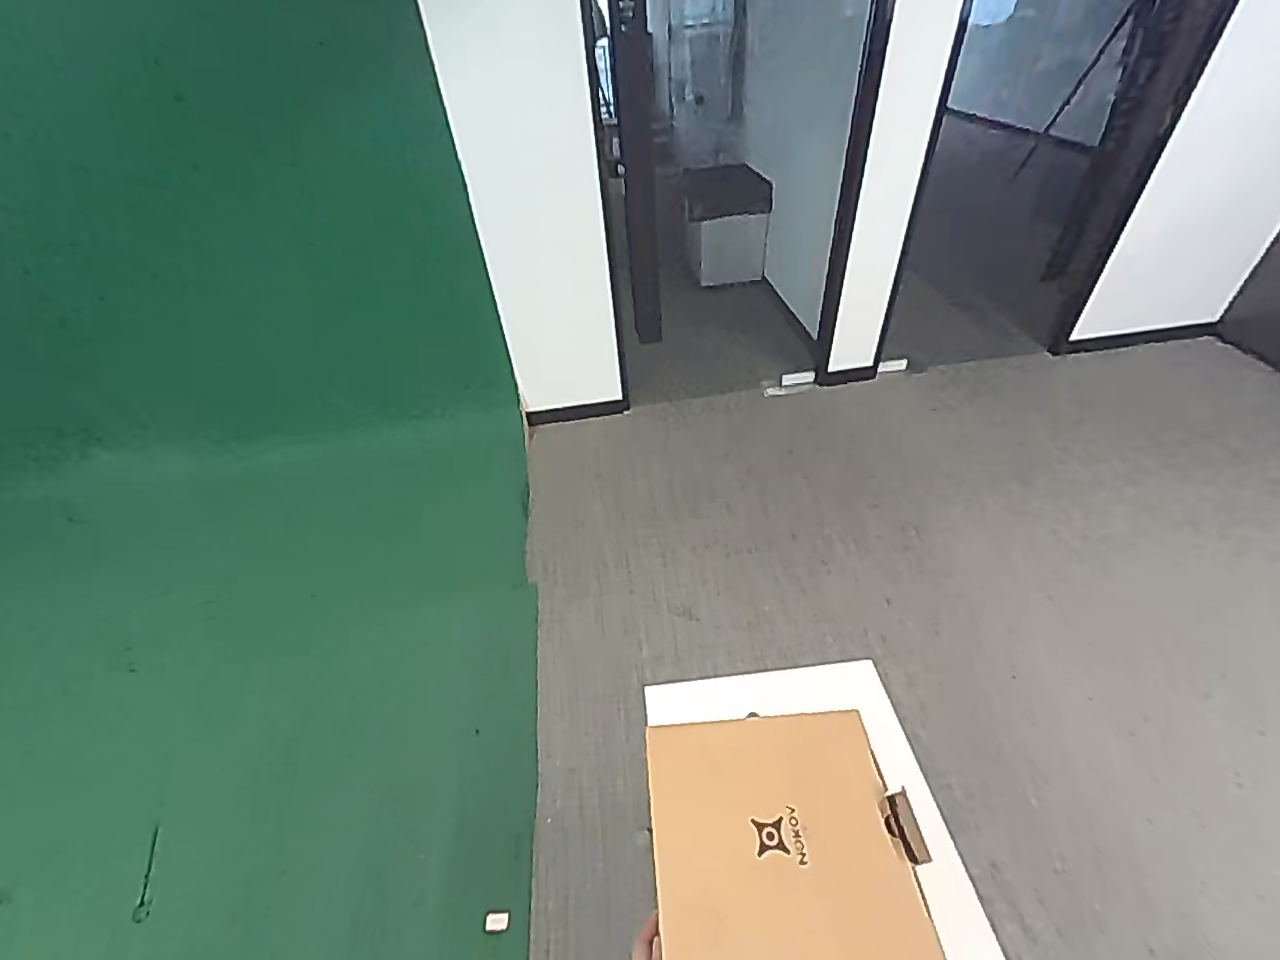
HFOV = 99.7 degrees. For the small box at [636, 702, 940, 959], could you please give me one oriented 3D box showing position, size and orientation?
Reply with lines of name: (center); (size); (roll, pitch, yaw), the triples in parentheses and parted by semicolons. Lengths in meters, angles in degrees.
small box: (0.093, 0.298, 0.431); (0.179, 0.176, 0.168); (-4, 45, -2)
